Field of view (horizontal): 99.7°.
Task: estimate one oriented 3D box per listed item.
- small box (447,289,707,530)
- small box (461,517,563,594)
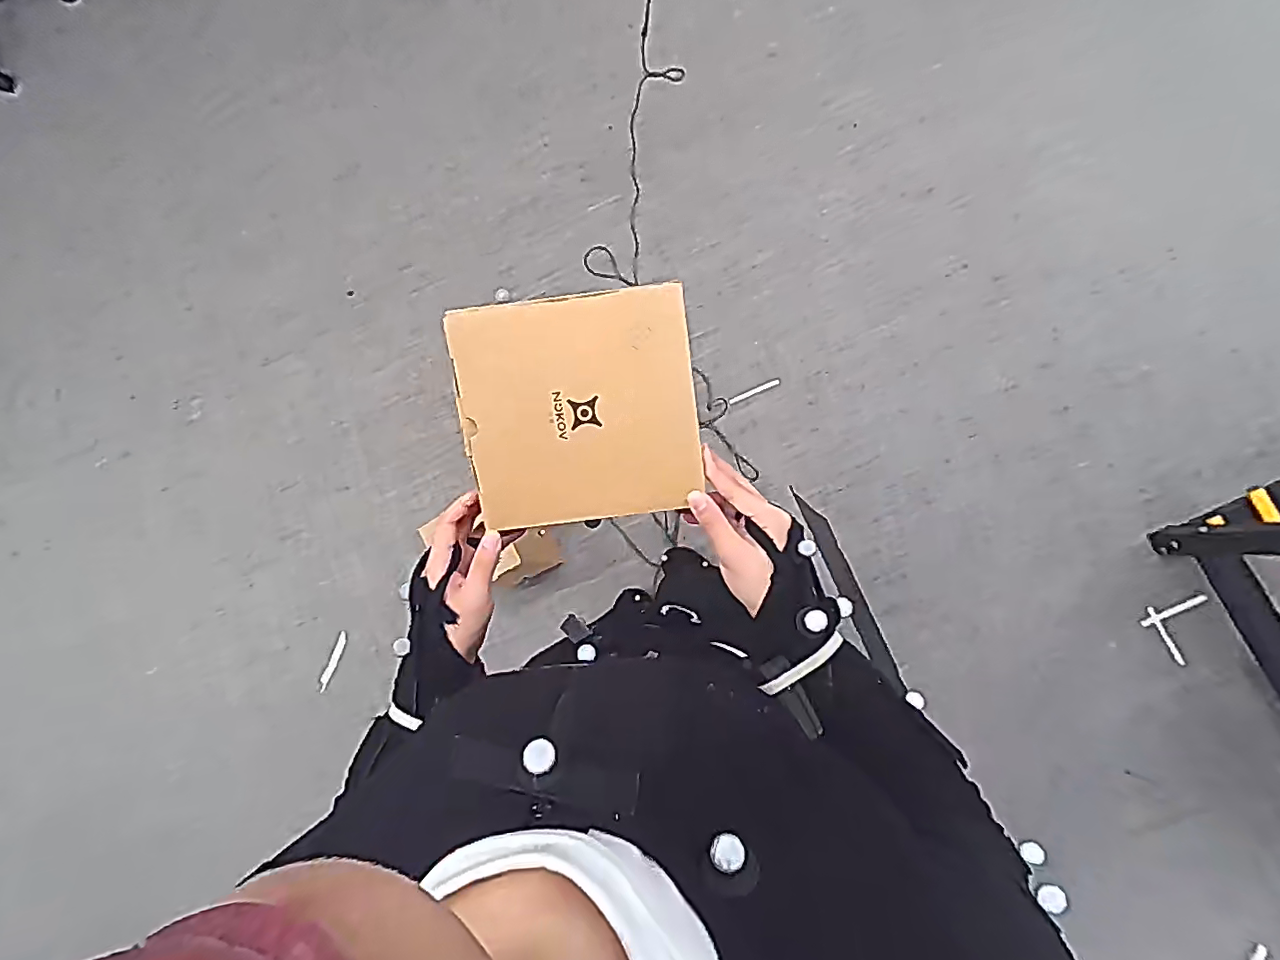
[{"bbox_3d":[-0.042,-0.066,0.476,0.179,0.176,0.168,-6,102,4],"label":"small box"},{"bbox_3d":[-0.310,0.164,1.345,0.168,0.176,0.179,-25,81,3],"label":"small box"}]
